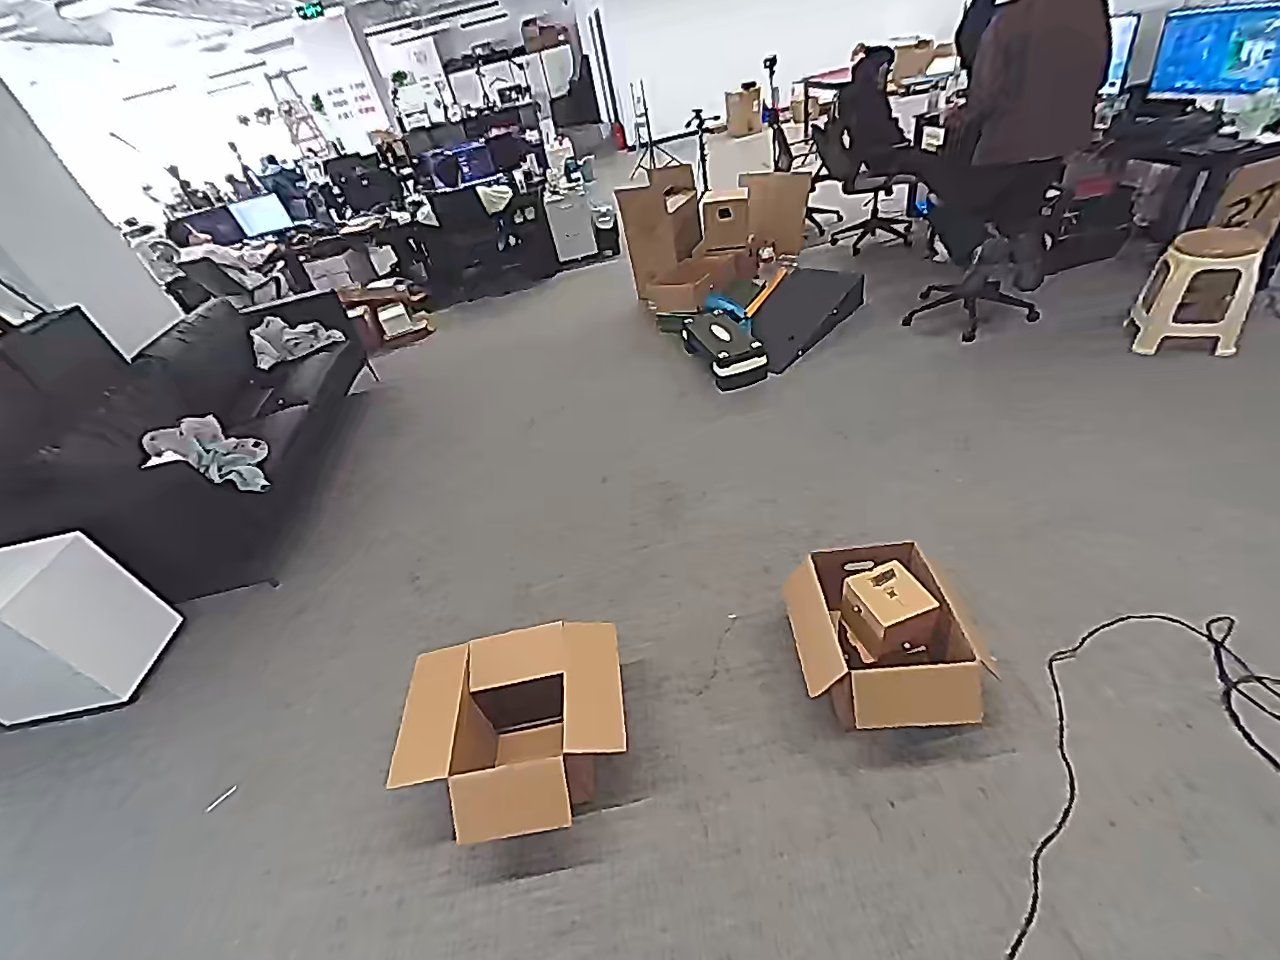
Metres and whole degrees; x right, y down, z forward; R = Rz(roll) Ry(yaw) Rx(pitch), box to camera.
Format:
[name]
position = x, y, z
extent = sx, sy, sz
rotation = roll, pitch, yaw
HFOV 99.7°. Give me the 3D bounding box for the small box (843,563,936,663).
[small box]
position = 0.672, 0.365, 1.480
extent = 0.168, 0.176, 0.179
rotation = -17, 37, -4
